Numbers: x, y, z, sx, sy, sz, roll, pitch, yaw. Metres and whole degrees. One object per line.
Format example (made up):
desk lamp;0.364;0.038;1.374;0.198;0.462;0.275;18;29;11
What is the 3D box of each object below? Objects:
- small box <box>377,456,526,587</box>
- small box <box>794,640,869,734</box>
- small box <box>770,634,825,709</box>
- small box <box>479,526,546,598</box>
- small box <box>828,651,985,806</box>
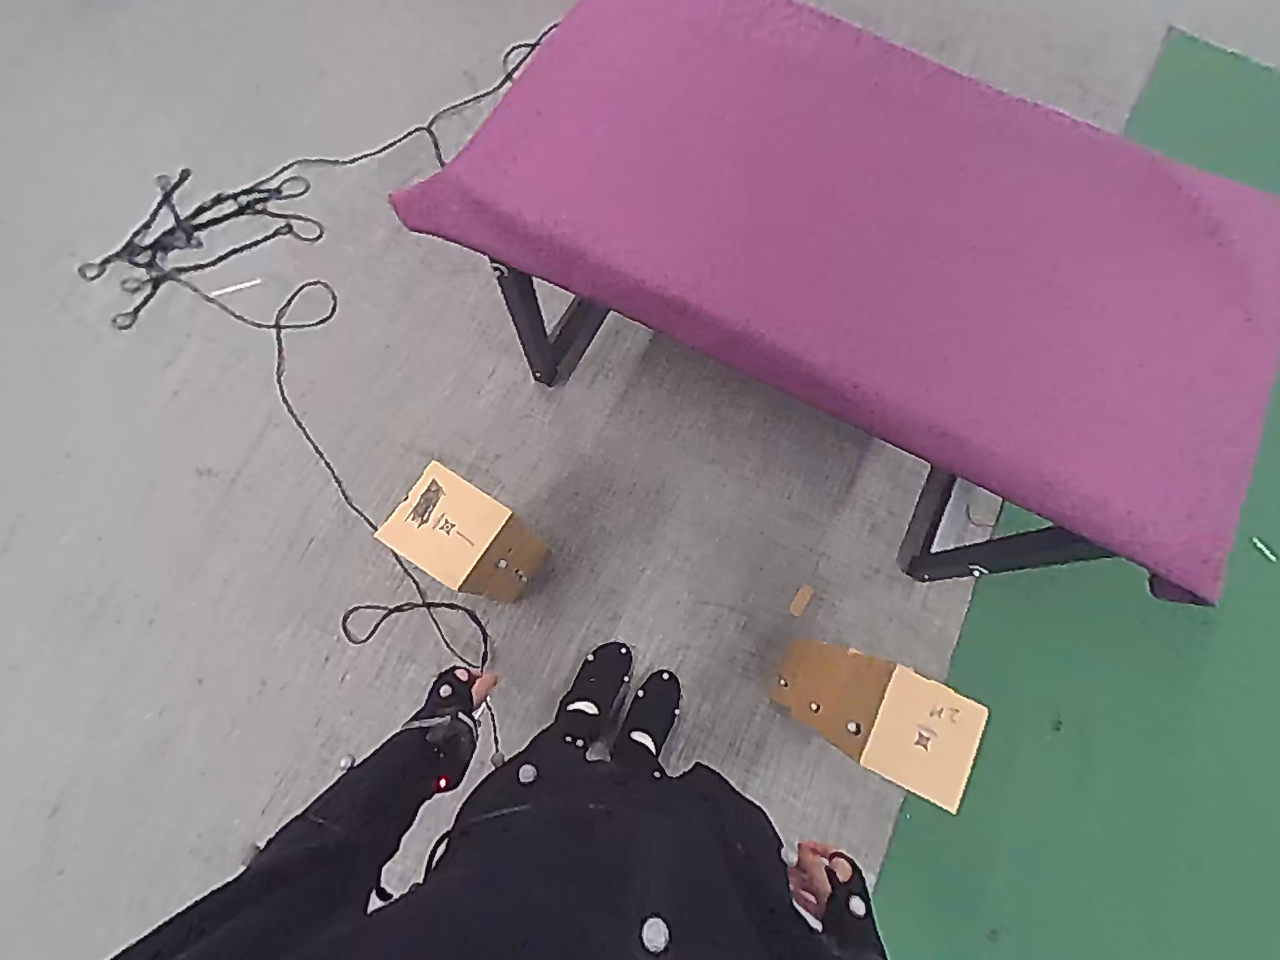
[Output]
small box;-0.336;0.087;1.002;0.179;0.176;0.168;33;77;6
small box;0.440;0.445;1.113;0.168;0.176;0.179;26;78;4
small box;0.431;0.479;1.271;0.179;0.176;0.168;29;77;5
small box;-0.347;0.174;1.320;0.168;0.176;0.179;31;78;5
small box;0.453;0.421;0.950;0.168;0.176;0.179;27;78;4
